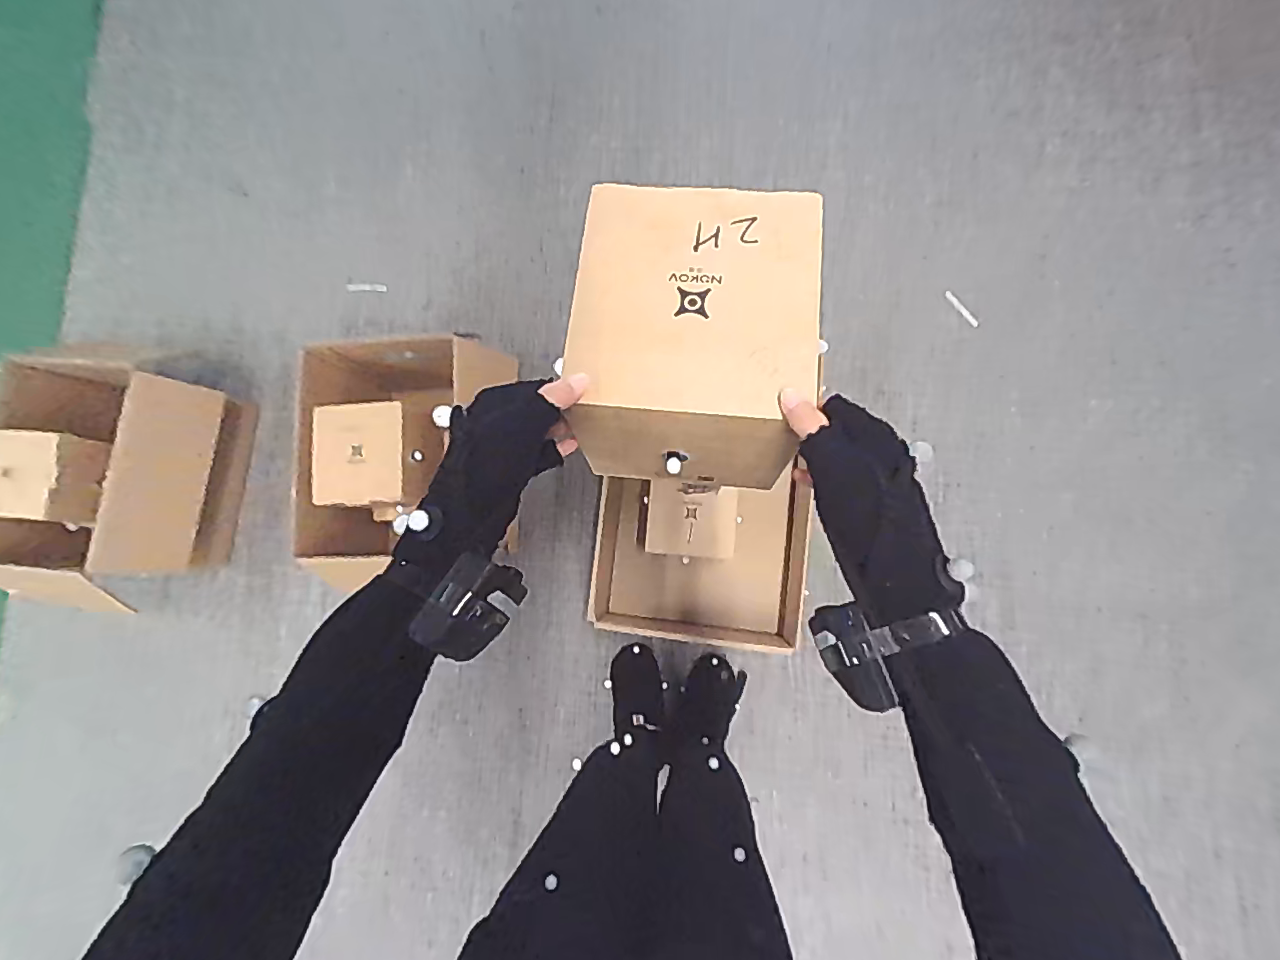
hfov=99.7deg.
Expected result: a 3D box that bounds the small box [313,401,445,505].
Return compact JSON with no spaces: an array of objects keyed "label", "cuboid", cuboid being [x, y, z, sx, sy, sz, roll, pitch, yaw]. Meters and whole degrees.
[{"label":"small box","cuboid":[-0.480,-0.042,1.017,0.168,0.176,0.179,-3,85,5]}]

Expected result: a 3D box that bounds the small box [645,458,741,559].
[{"label":"small box","cuboid":[0.105,0.061,1.074,0.168,0.176,0.179,5,83,6]}]
